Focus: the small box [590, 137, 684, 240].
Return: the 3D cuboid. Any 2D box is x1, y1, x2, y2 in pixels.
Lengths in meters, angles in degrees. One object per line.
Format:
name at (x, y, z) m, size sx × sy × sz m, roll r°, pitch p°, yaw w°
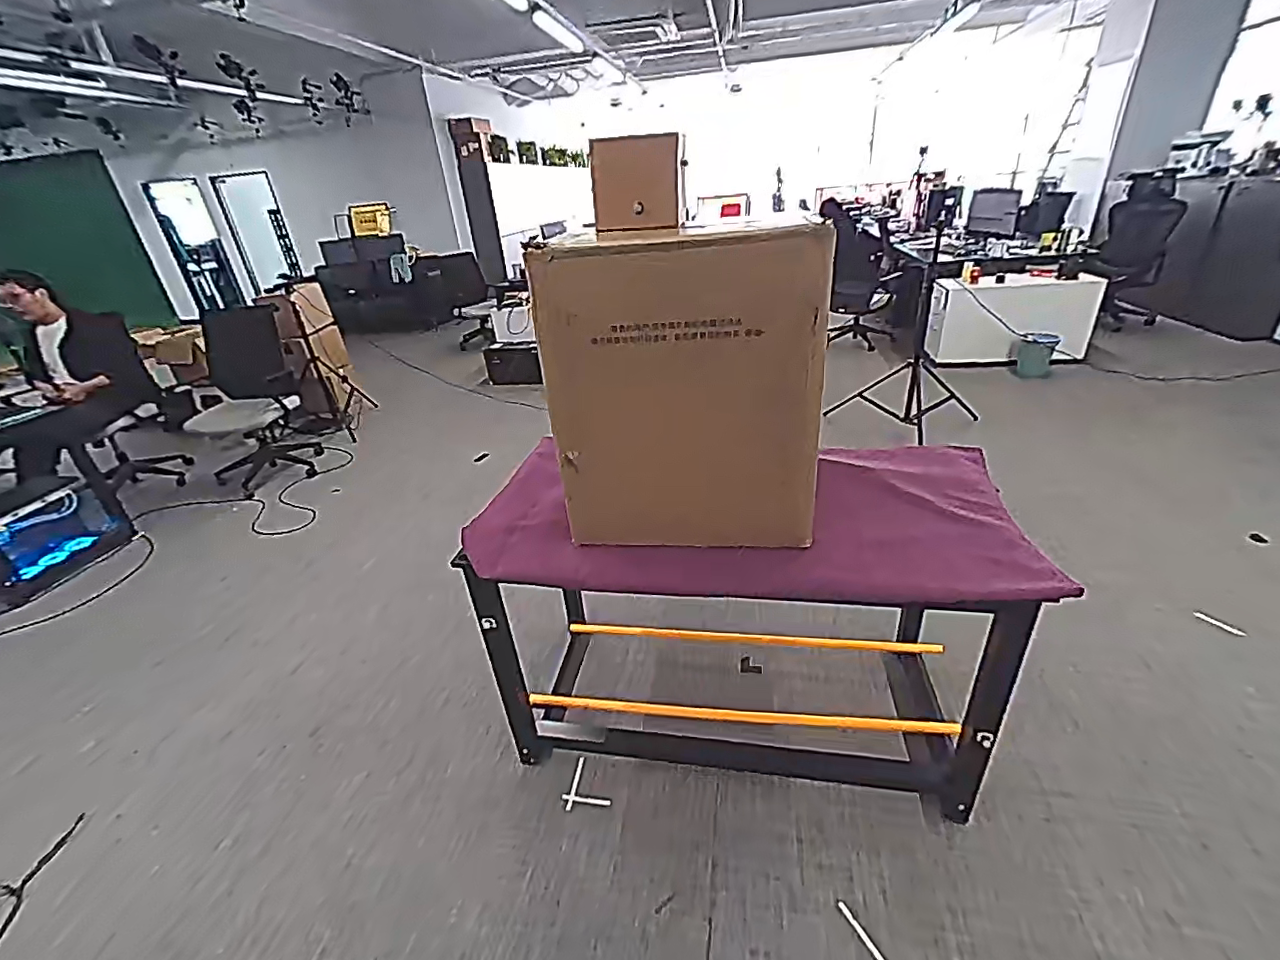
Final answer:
small box at (-0.003, -0.604, 1.130) m, size 0.179 × 0.176 × 0.168 m, roll 1°, pitch 29°, yaw 10°
